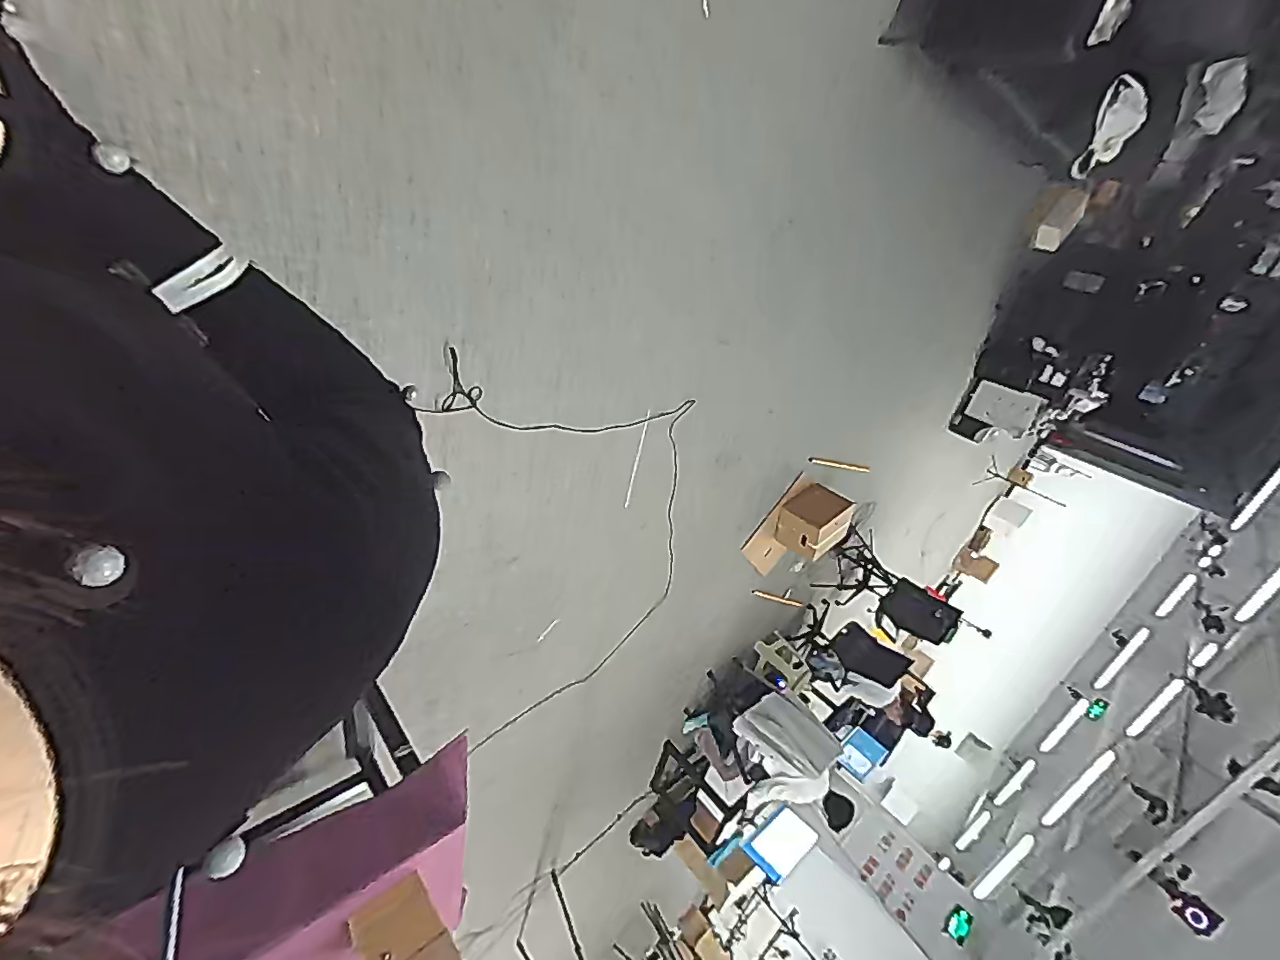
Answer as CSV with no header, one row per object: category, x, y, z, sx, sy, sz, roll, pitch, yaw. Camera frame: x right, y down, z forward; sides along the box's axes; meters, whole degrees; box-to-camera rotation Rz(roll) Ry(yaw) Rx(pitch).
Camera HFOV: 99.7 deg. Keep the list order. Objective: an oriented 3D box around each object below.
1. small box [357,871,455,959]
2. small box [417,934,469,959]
small box,-0.580,1.133,1.346,0.179,0.176,0.168,-16,130,-38
small box,-0.472,1.213,1.252,0.168,0.176,0.179,-16,129,-38
